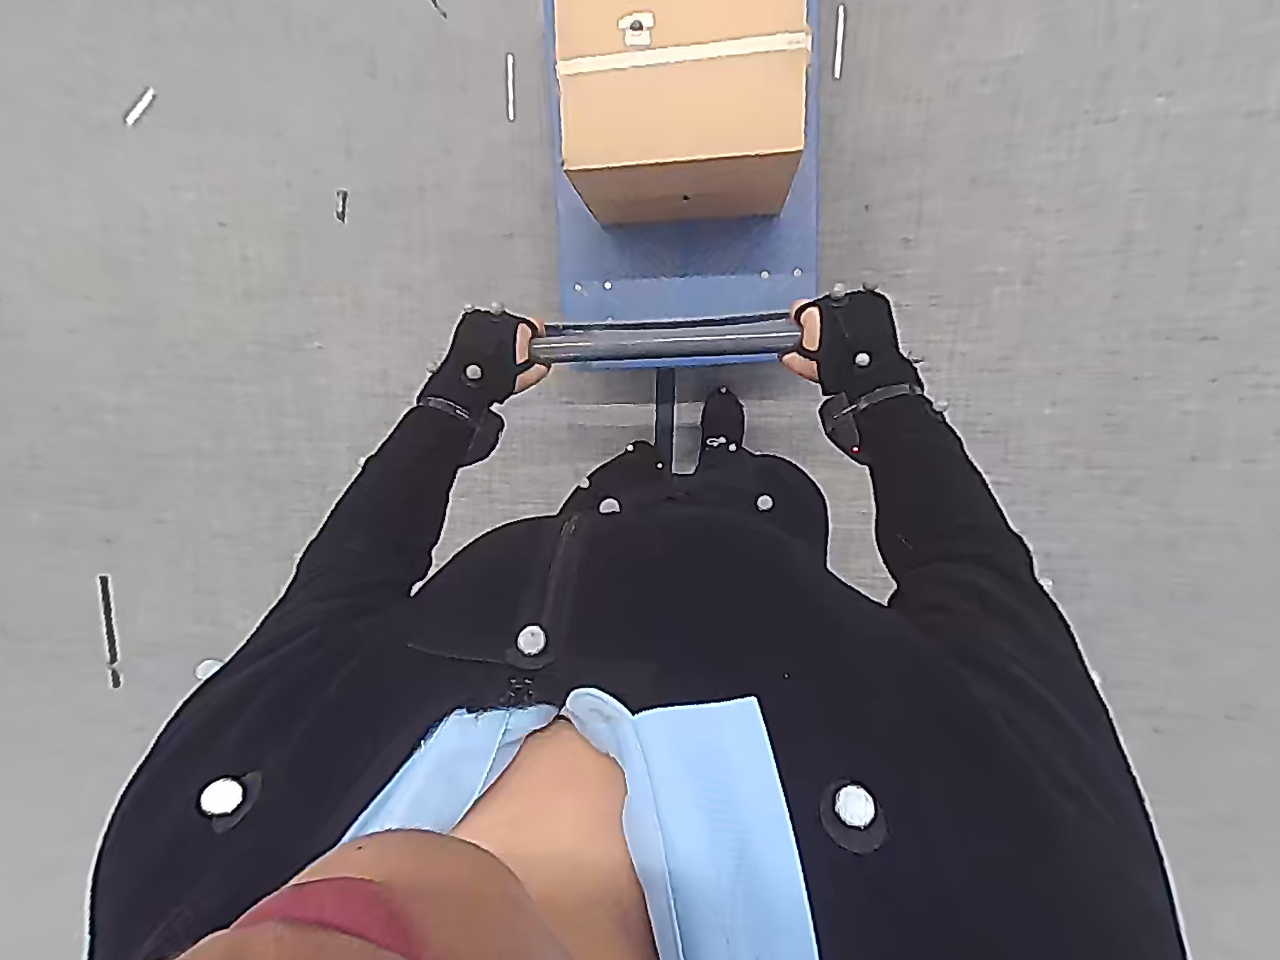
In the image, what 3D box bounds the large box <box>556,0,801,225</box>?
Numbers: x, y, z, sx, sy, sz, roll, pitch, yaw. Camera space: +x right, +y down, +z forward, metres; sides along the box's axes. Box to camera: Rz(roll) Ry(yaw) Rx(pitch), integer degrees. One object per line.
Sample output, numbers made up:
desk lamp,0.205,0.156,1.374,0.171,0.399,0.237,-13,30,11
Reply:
large box,0.083,-0.710,1.040,0.408,0.320,0.320,-1,98,8
